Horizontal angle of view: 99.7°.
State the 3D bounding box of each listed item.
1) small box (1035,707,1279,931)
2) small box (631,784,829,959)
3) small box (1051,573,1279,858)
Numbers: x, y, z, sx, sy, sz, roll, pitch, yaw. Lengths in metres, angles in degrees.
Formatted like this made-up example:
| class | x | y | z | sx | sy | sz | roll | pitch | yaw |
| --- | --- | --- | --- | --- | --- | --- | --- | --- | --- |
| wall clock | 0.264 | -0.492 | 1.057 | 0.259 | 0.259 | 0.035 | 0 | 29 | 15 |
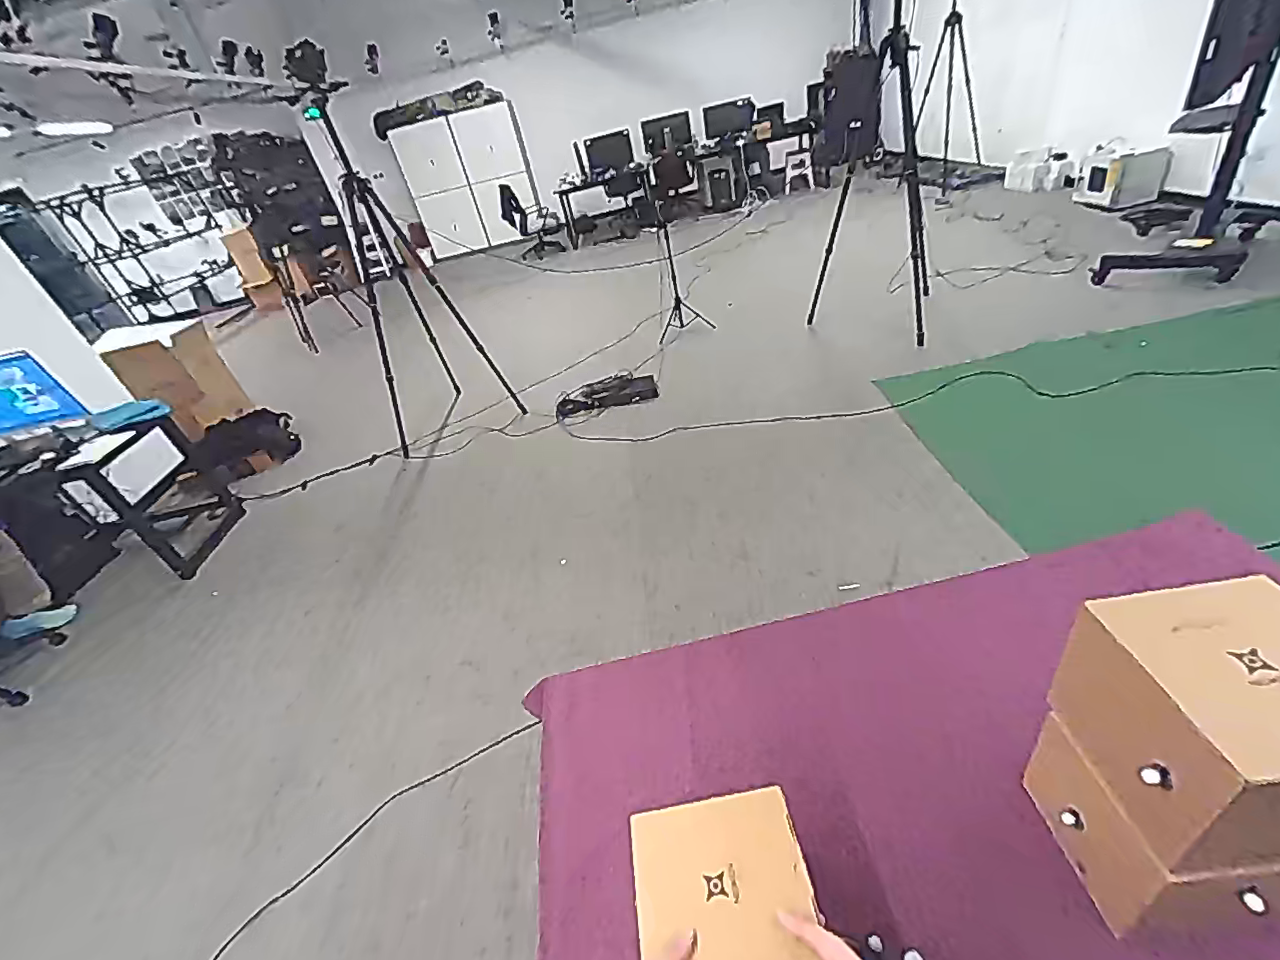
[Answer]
| class | x | y | z | sx | sy | sz | roll | pitch | yaw |
| --- | --- | --- | --- | --- | --- | --- | --- | --- | --- |
| small box | 0.560 | 0.350 | 0.576 | 0.179 | 0.176 | 0.168 | -11 | 35 | 6 |
| small box | 0.098 | 0.472 | 0.593 | 0.179 | 0.176 | 0.168 | -13 | 34 | 3 |
| small box | 0.523 | 0.215 | 0.491 | 0.168 | 0.176 | 0.179 | -11 | 34 | 7 |
